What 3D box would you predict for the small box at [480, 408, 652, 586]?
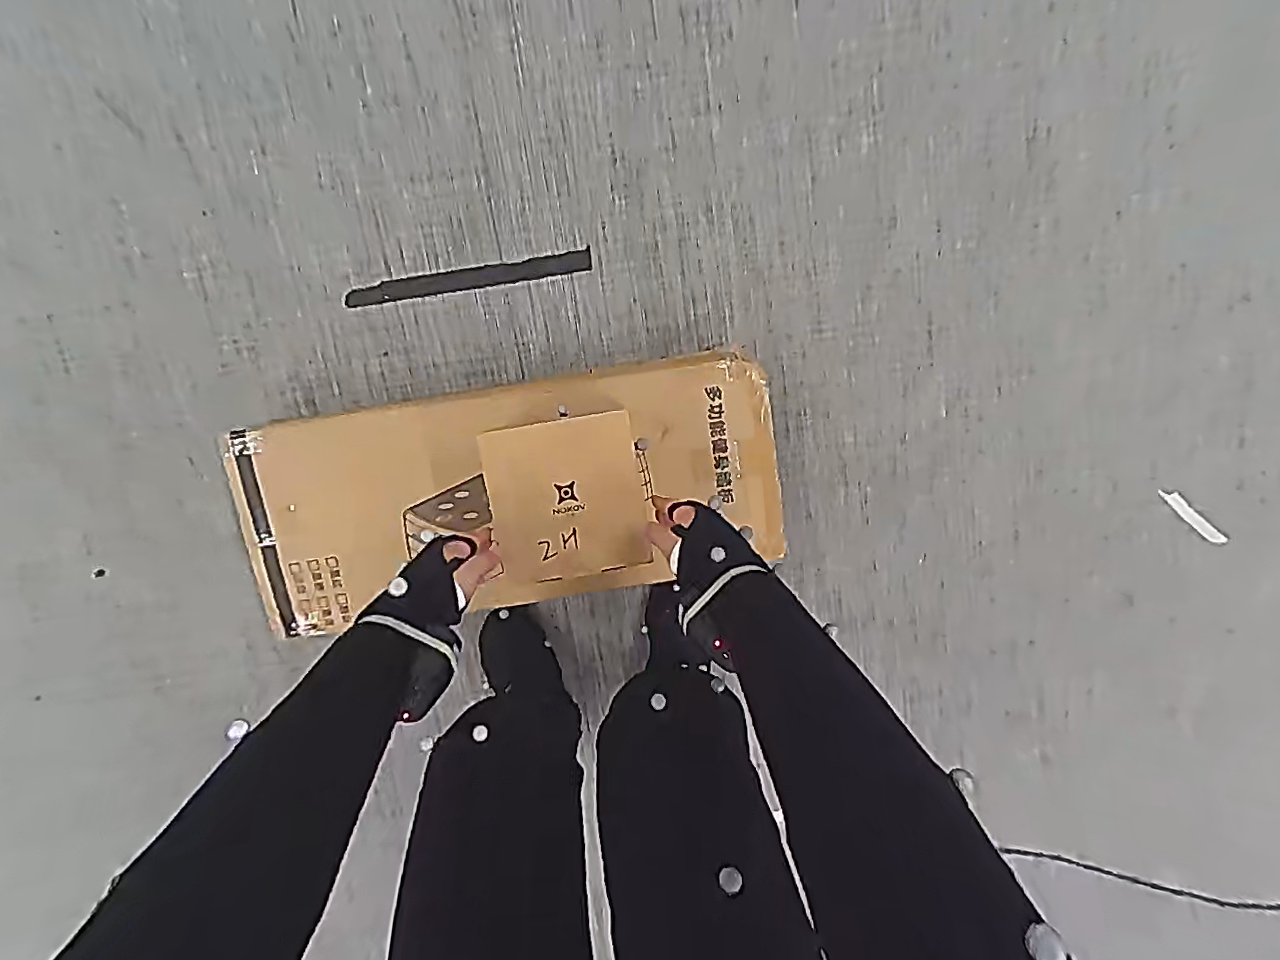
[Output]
[{"bbox_3d":[-0.083,0.009,0.666,0.168,0.176,0.179,-10,100,-1],"label":"small box"}]
